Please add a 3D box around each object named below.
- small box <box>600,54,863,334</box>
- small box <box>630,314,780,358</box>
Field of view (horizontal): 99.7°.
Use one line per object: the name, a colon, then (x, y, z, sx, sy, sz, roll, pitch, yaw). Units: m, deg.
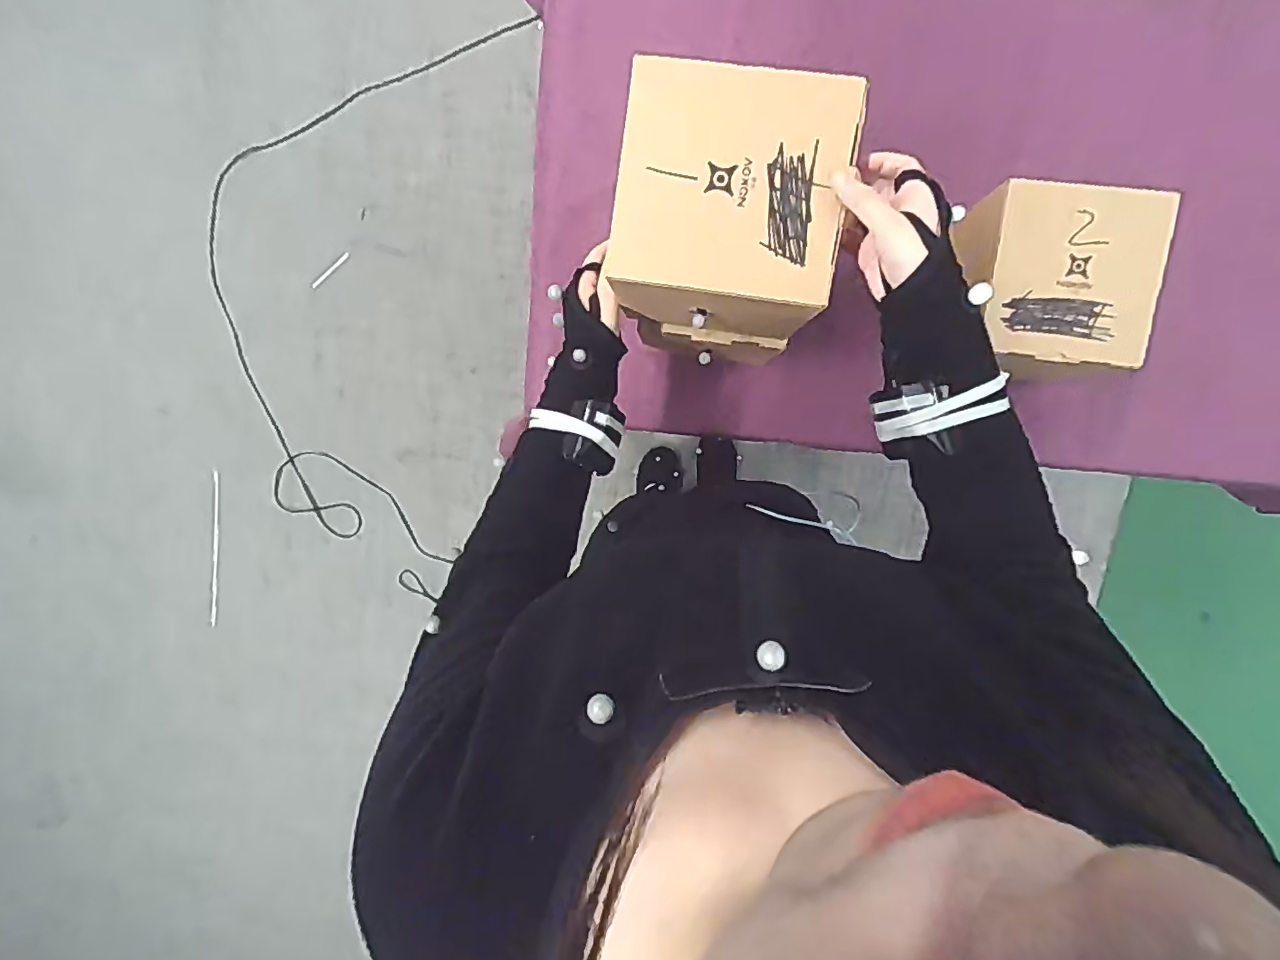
small box: (0.072, -0.234, 0.490, 0.179, 0.176, 0.168, 10, 97, 3)
small box: (0.087, -0.248, 0.654, 0.168, 0.176, 0.179, 8, 98, 2)
